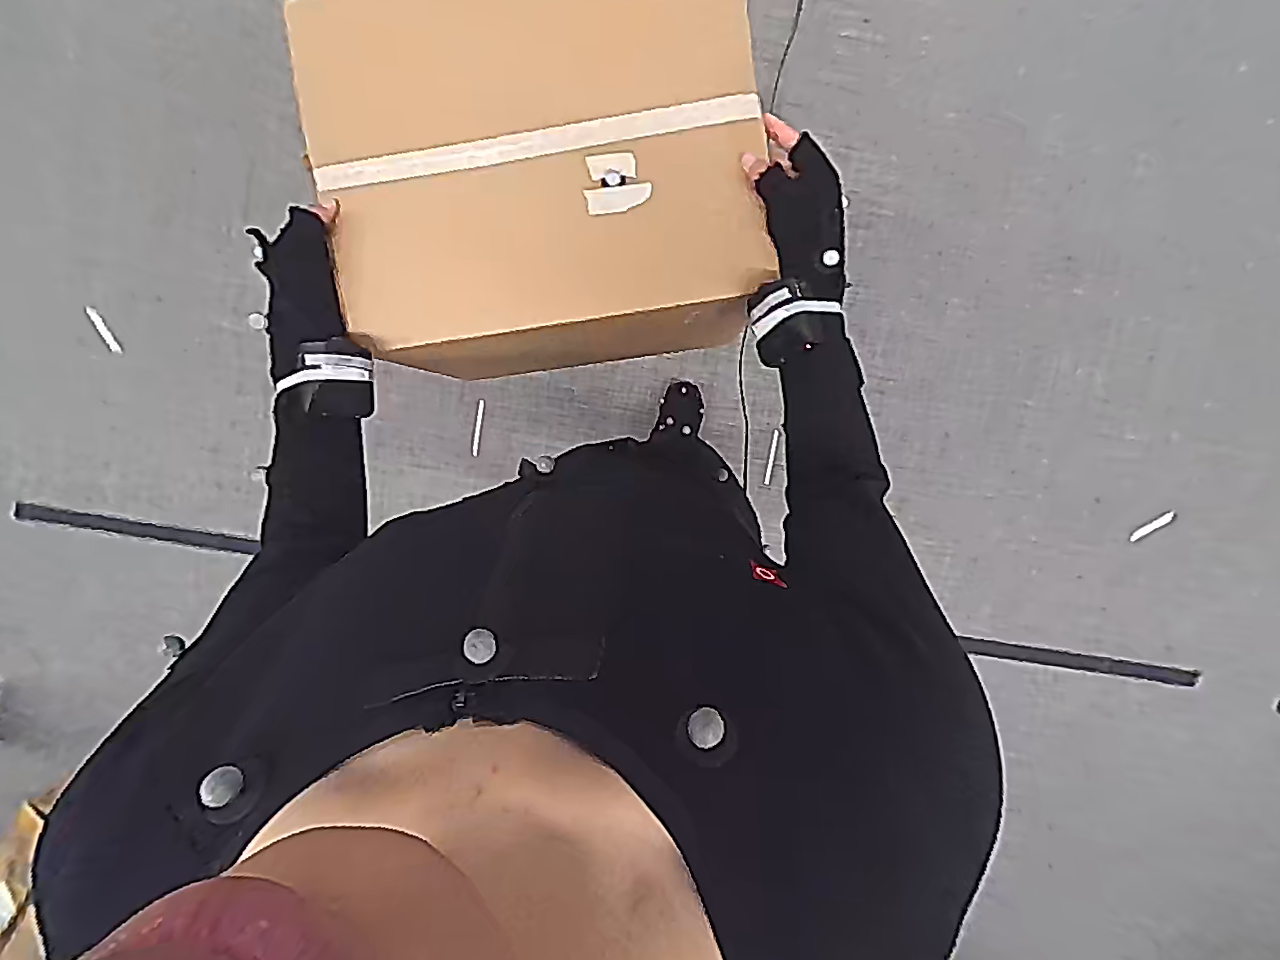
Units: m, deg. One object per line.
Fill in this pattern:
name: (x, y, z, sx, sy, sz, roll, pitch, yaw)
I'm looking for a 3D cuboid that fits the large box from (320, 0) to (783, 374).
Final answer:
large box: (-0.079, -0.322, 0.651, 0.408, 0.320, 0.320, -7, 96, 2)
